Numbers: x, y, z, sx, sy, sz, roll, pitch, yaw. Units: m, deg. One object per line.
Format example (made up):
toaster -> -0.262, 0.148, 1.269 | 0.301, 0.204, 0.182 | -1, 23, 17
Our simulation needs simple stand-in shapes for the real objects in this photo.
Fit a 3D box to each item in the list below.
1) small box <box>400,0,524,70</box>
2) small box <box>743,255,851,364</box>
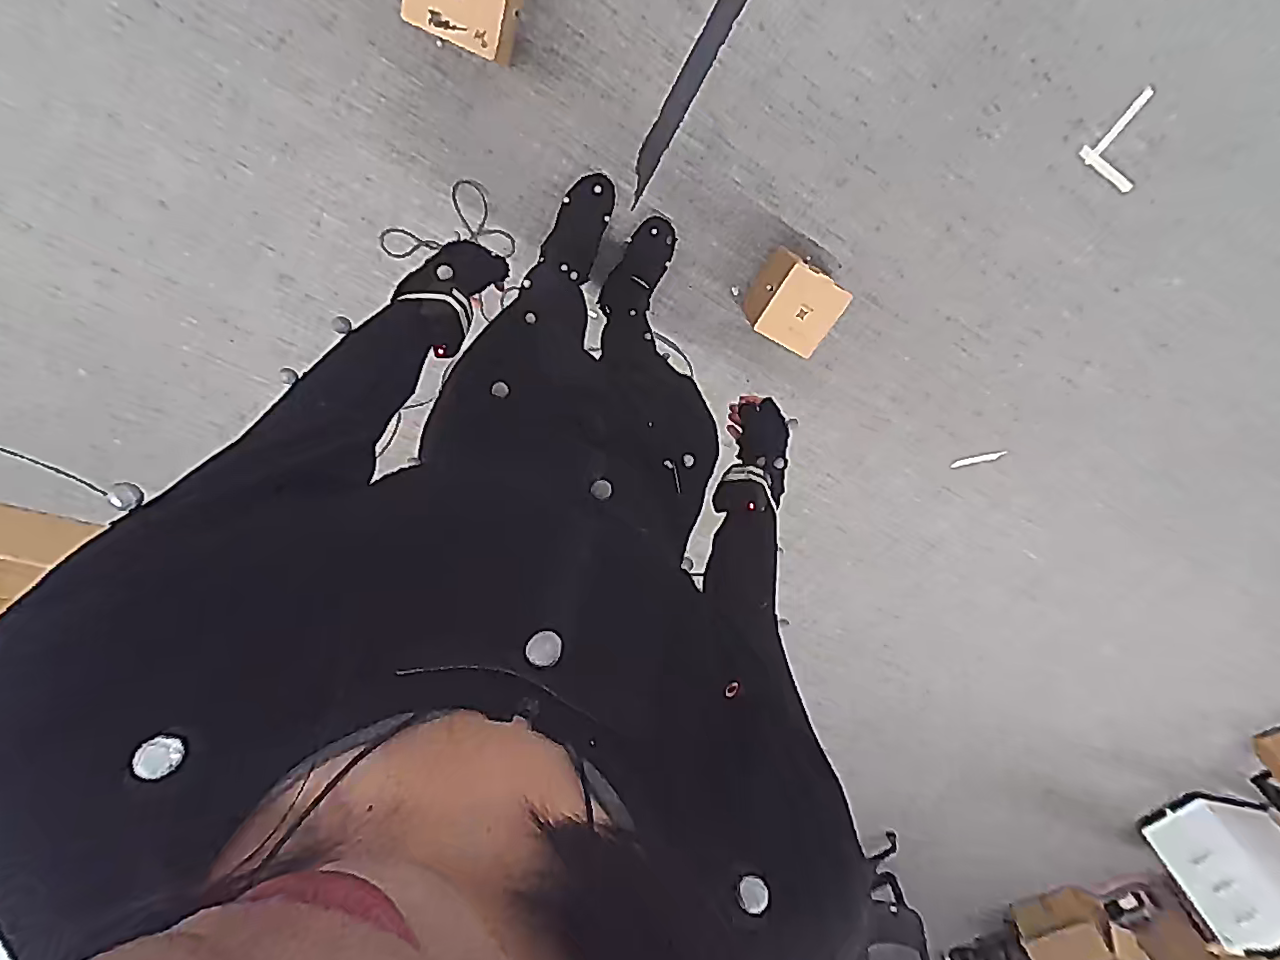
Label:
small box -> -0.308, -0.874, 0.968 | 0.168, 0.176, 0.179 | 18, 121, -14
small box -> 0.368, -0.417, 1.308 | 0.168, 0.176, 0.179 | 24, 121, -16
